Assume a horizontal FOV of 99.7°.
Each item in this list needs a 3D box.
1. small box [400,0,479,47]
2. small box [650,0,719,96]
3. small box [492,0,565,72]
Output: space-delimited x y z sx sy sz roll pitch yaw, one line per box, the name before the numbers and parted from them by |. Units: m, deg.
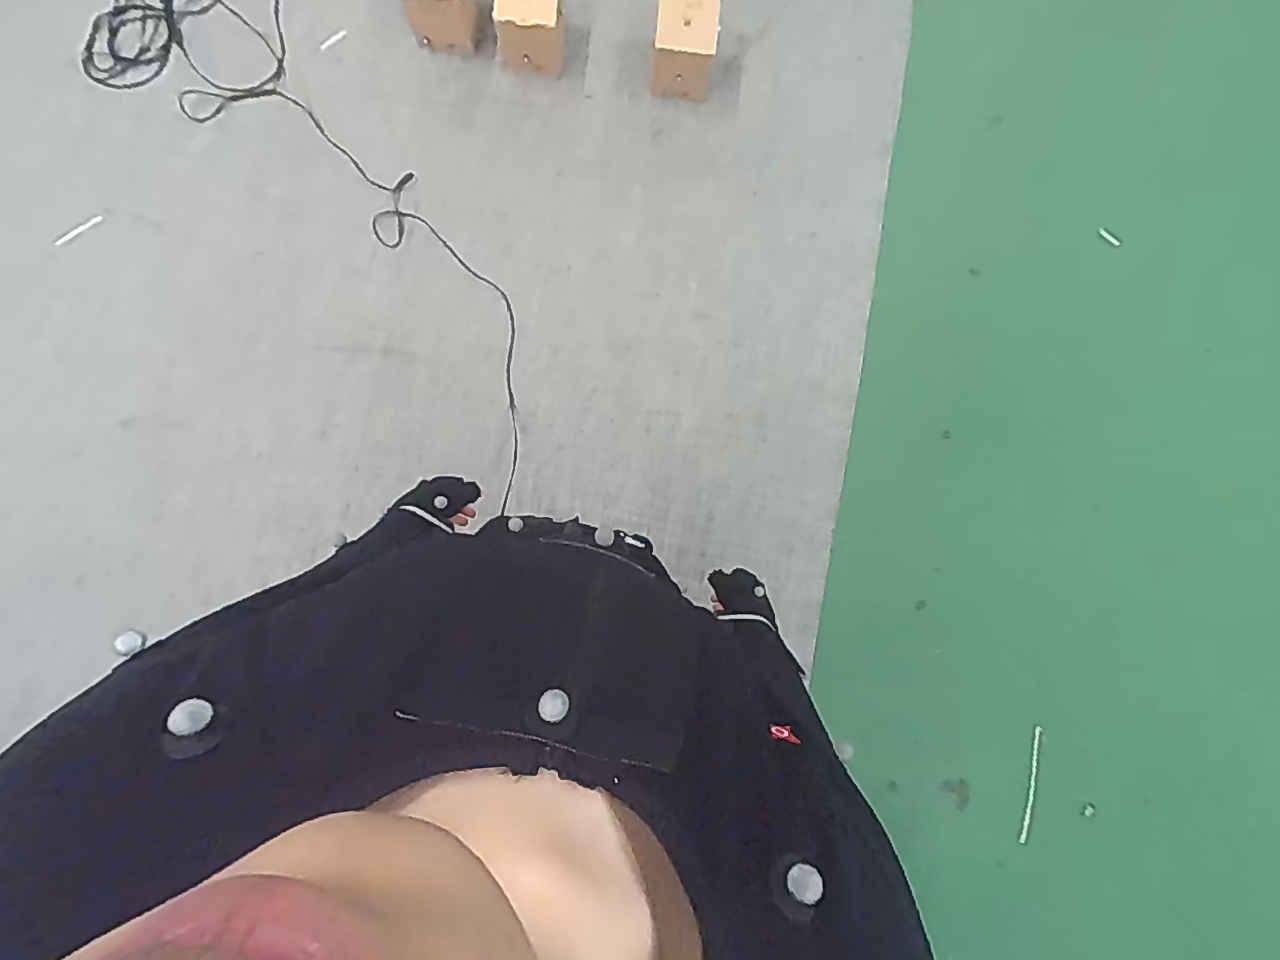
small box | -0.549 -1.342 1.481 0.168 0.176 0.179 7 85 -2
small box | 0.120 -1.218 1.507 0.168 0.176 0.179 5 87 -4
small box | -0.301 -1.281 1.491 0.168 0.176 0.179 4 87 -2
